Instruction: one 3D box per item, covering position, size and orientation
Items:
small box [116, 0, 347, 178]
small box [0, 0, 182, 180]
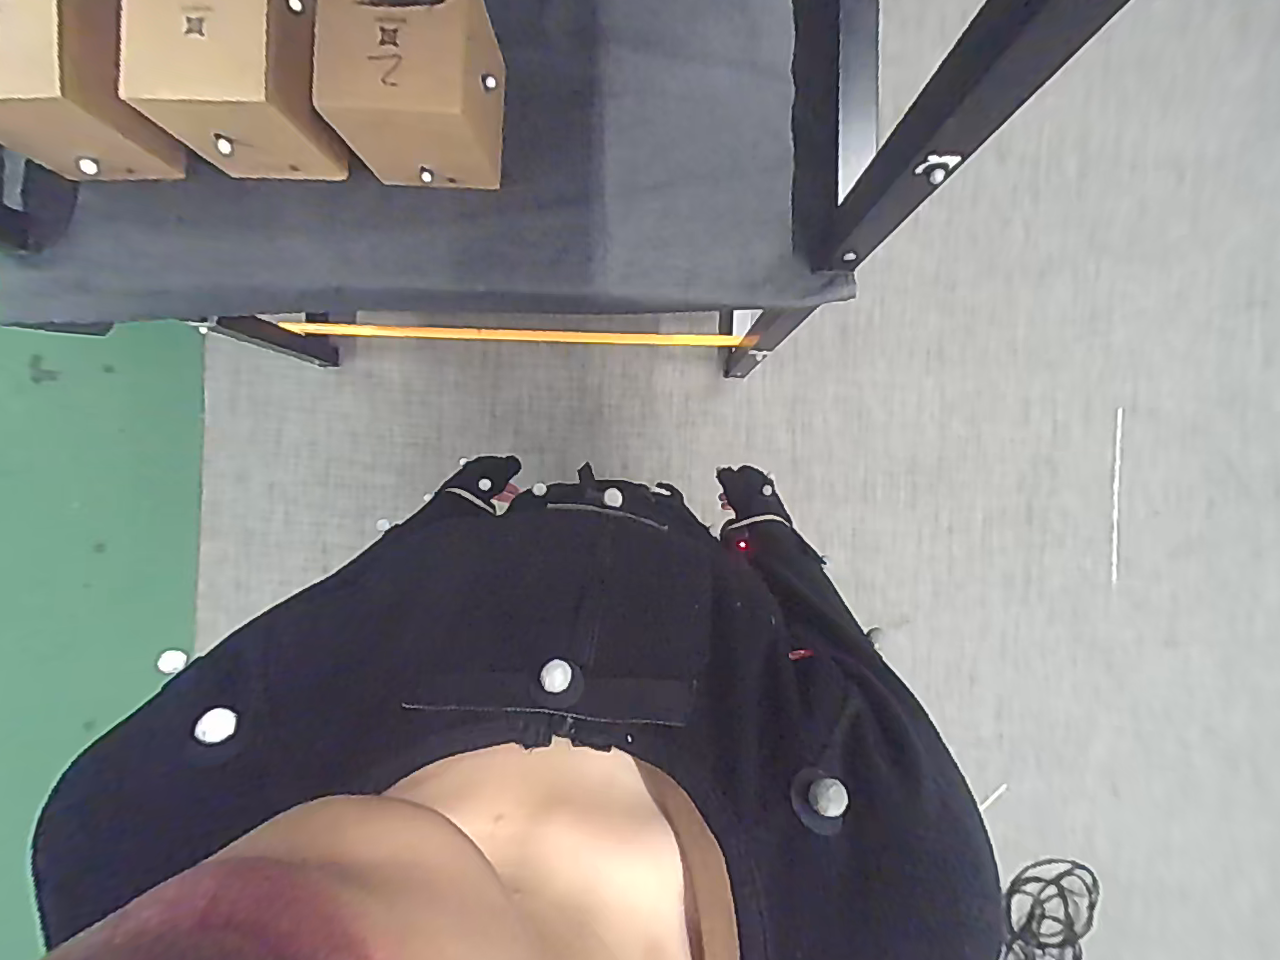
[{"bbox_3d":[-0.489,-0.505,0.673,0.168,0.176,0.179,2,90,0],"label":"small box"},{"bbox_3d":[-0.716,-0.505,0.671,0.168,0.176,0.179,-1,91,0],"label":"small box"}]
